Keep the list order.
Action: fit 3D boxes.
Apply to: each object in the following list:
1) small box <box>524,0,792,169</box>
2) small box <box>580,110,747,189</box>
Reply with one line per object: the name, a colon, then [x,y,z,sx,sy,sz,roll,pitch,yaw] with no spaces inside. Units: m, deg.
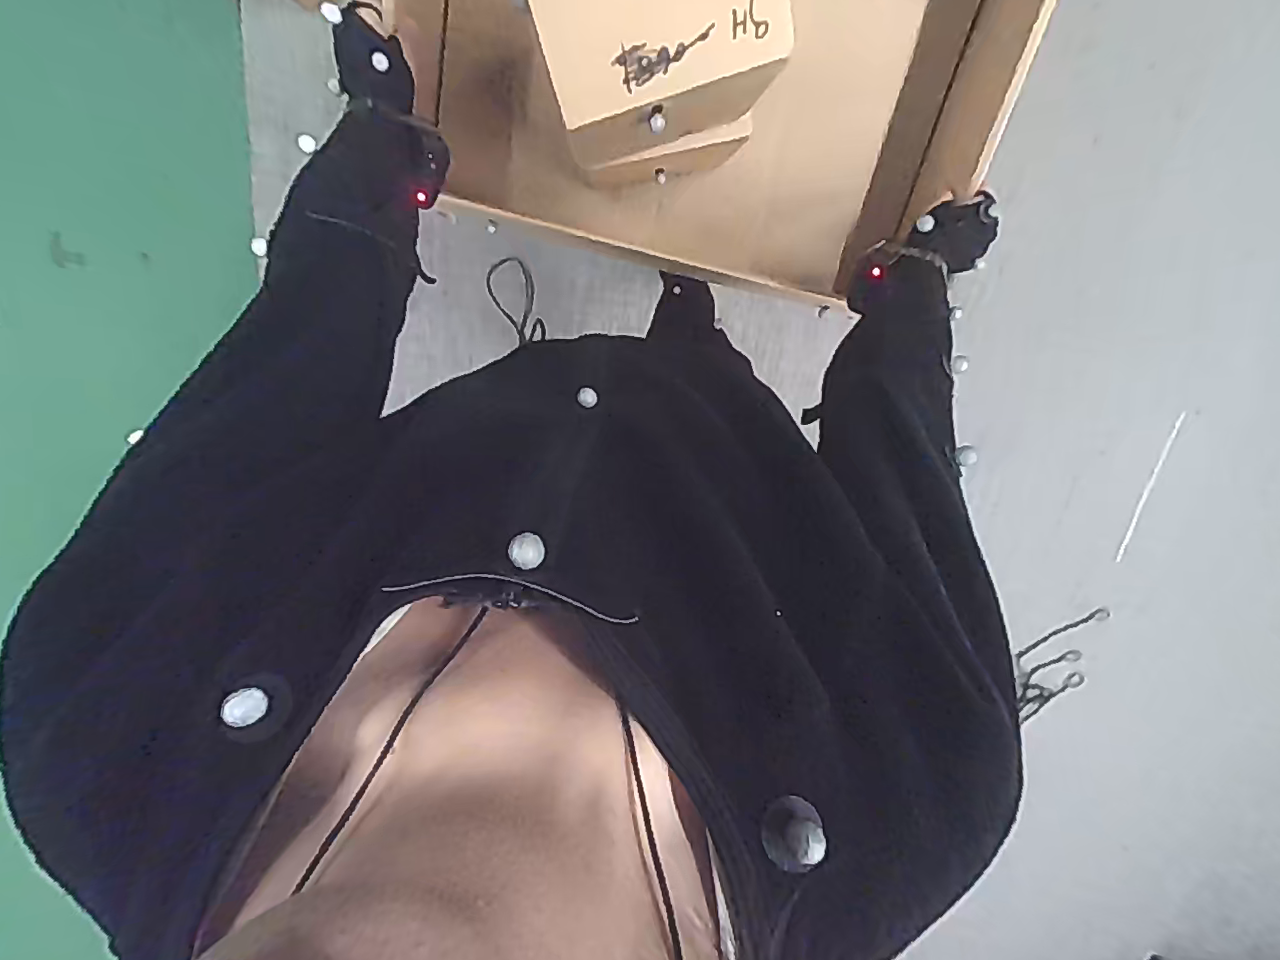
small box: [-0.003,-0.368,0.411,0.168,0.176,0.179,-16,110,4]
small box: [0.007,-0.419,0.567,0.168,0.176,0.179,-11,110,1]
